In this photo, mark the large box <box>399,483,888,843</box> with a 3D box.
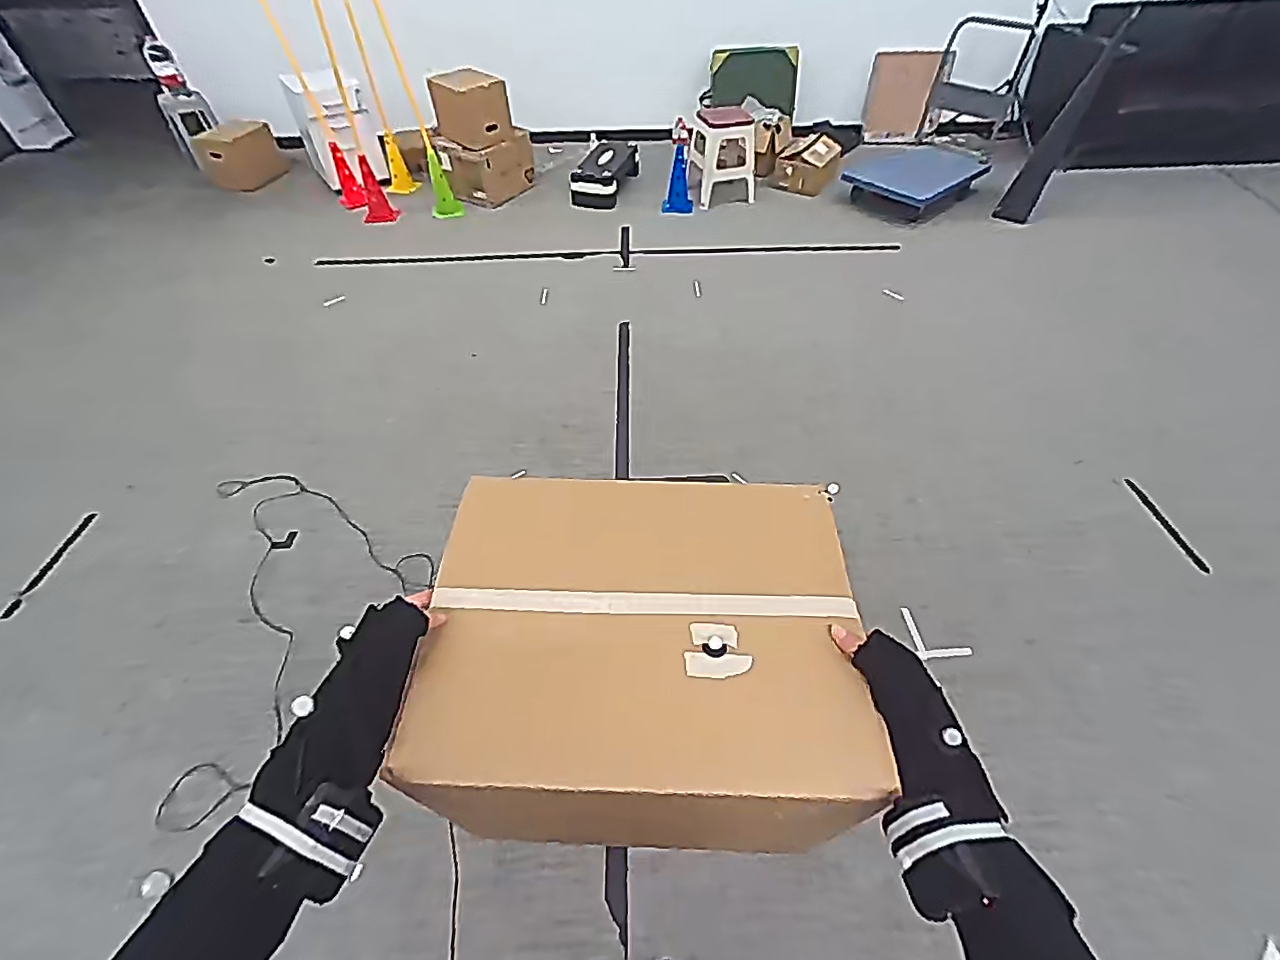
[{"bbox_3d":[0.005,0.220,0.640,0.408,0.320,0.320,2,50,2],"label":"large box"}]
